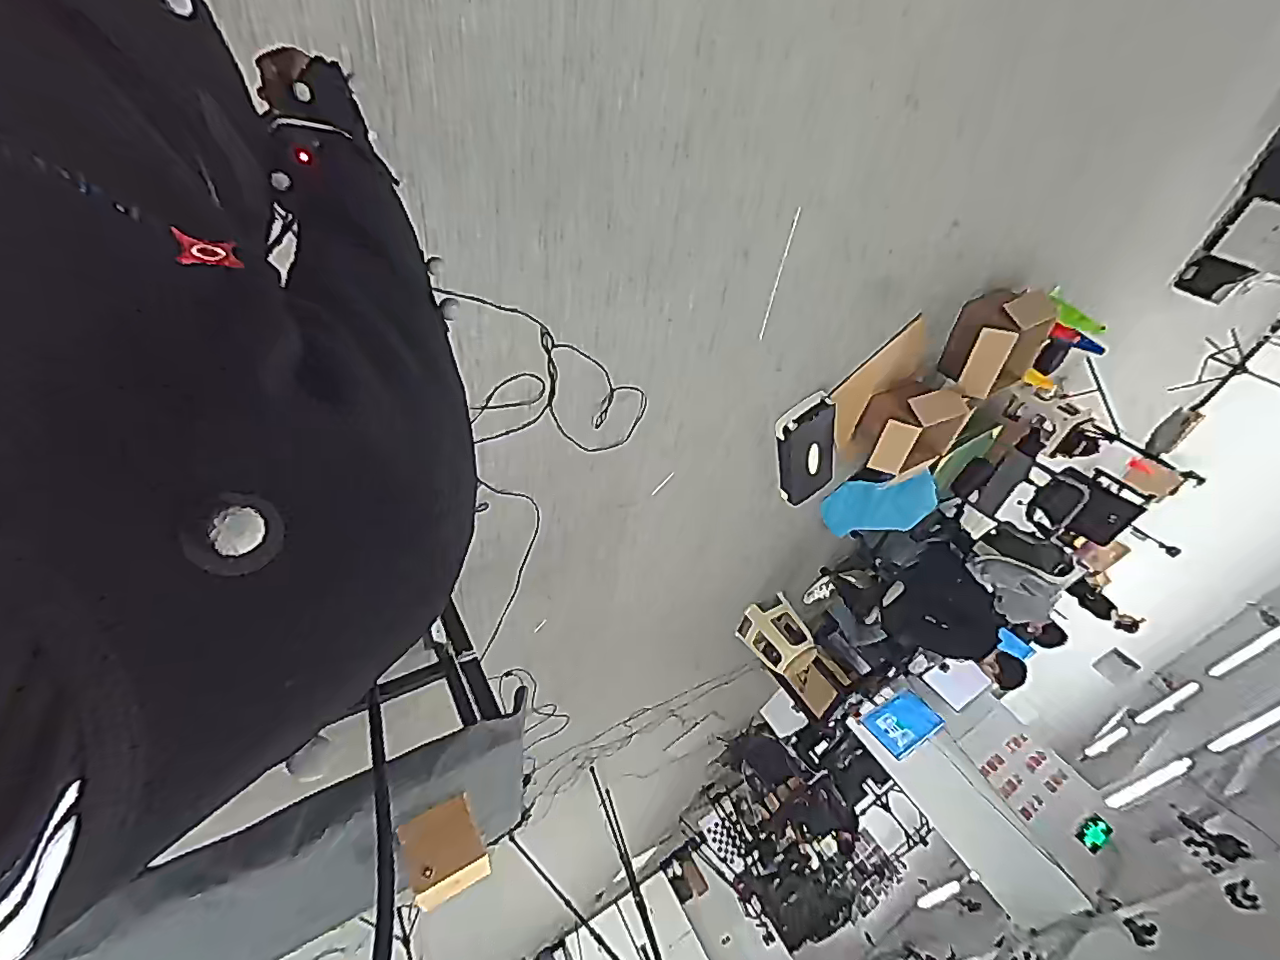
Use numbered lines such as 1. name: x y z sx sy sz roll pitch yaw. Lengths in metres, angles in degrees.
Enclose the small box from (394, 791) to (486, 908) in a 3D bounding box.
1. small box: -0.509 0.938 1.384 0.179 0.176 0.168 -17 138 -27
